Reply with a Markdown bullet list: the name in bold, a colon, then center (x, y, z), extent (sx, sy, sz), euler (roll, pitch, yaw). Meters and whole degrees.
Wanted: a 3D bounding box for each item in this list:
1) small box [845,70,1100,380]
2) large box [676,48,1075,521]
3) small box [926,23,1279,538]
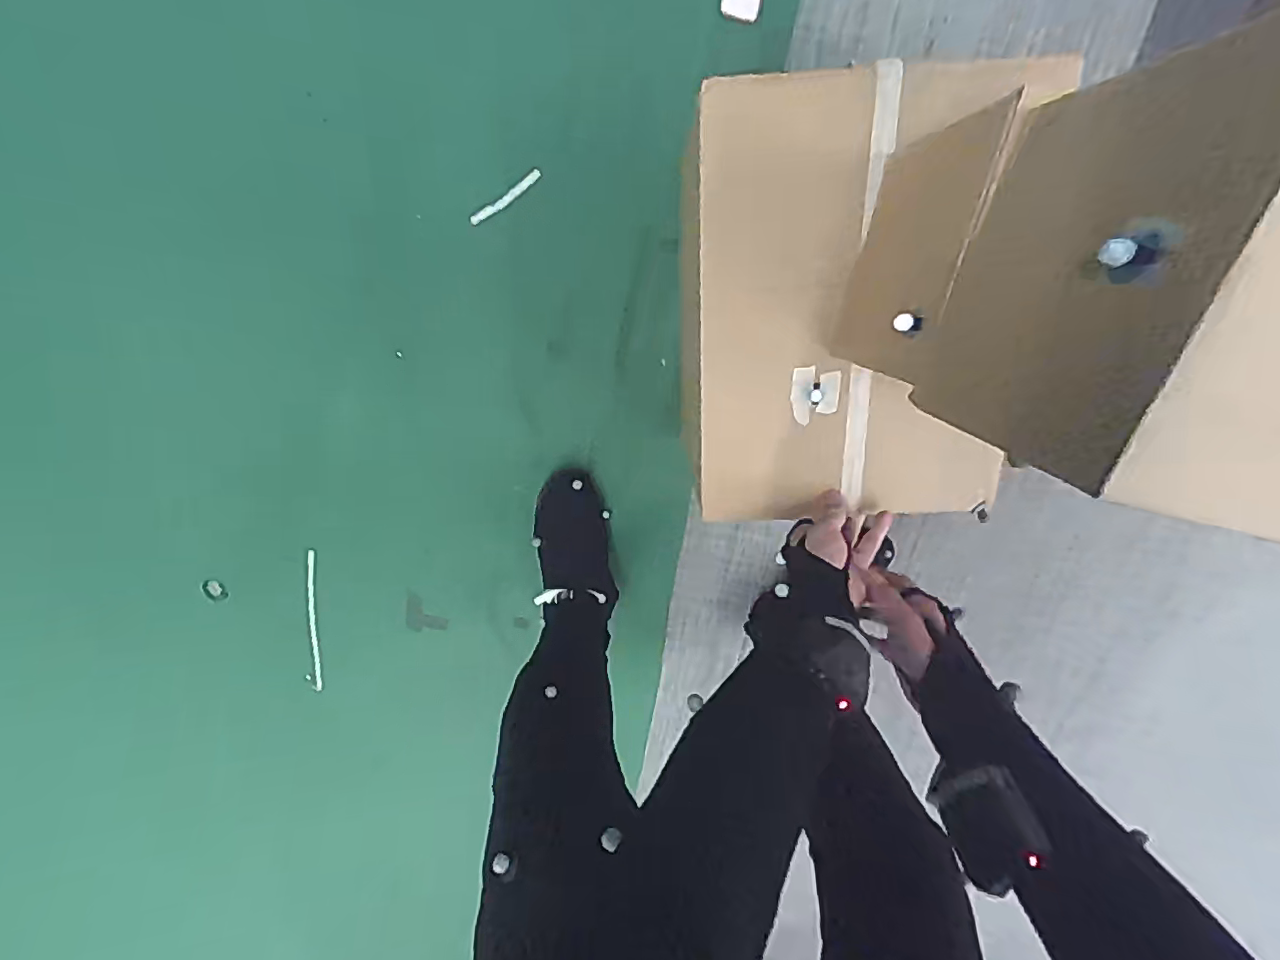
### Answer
- **small box**: center (0.274, -0.158, 0.399), extent (0.168, 0.176, 0.179), euler (7, 111, -4)
- **large box**: center (0.214, -0.205, 0.643), extent (0.320, 0.320, 0.408), euler (-3, 112, 3)
- **small box**: center (0.272, -0.083, 0.253), extent (0.168, 0.176, 0.179), euler (12, 111, -4)
